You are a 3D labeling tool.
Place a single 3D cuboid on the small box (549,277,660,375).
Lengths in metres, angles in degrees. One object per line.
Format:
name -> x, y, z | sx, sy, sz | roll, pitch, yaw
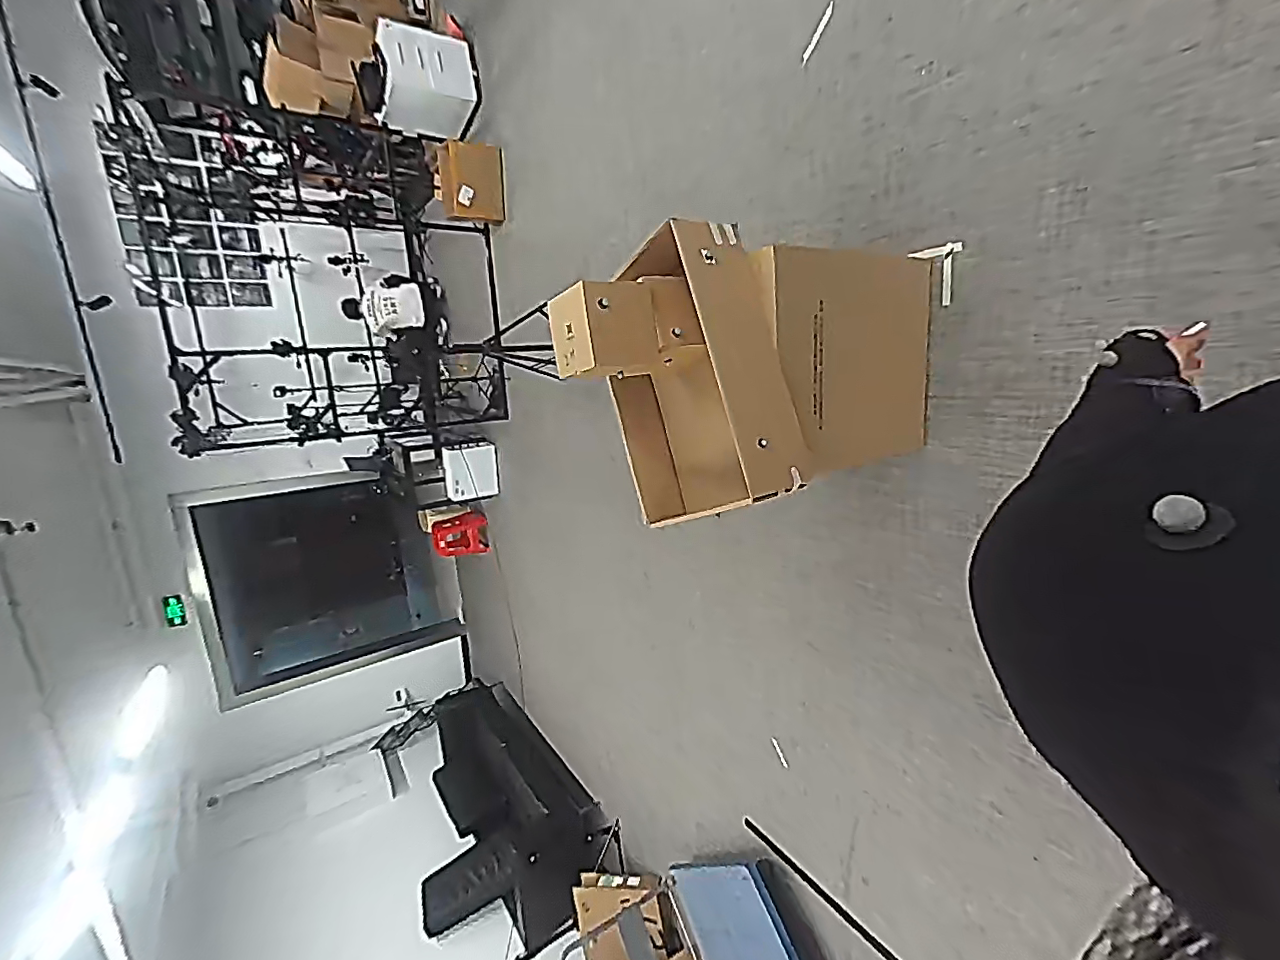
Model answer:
small box -> -0.077, -0.331, 1.181 | 0.168, 0.176, 0.179 | 2, 103, 56
